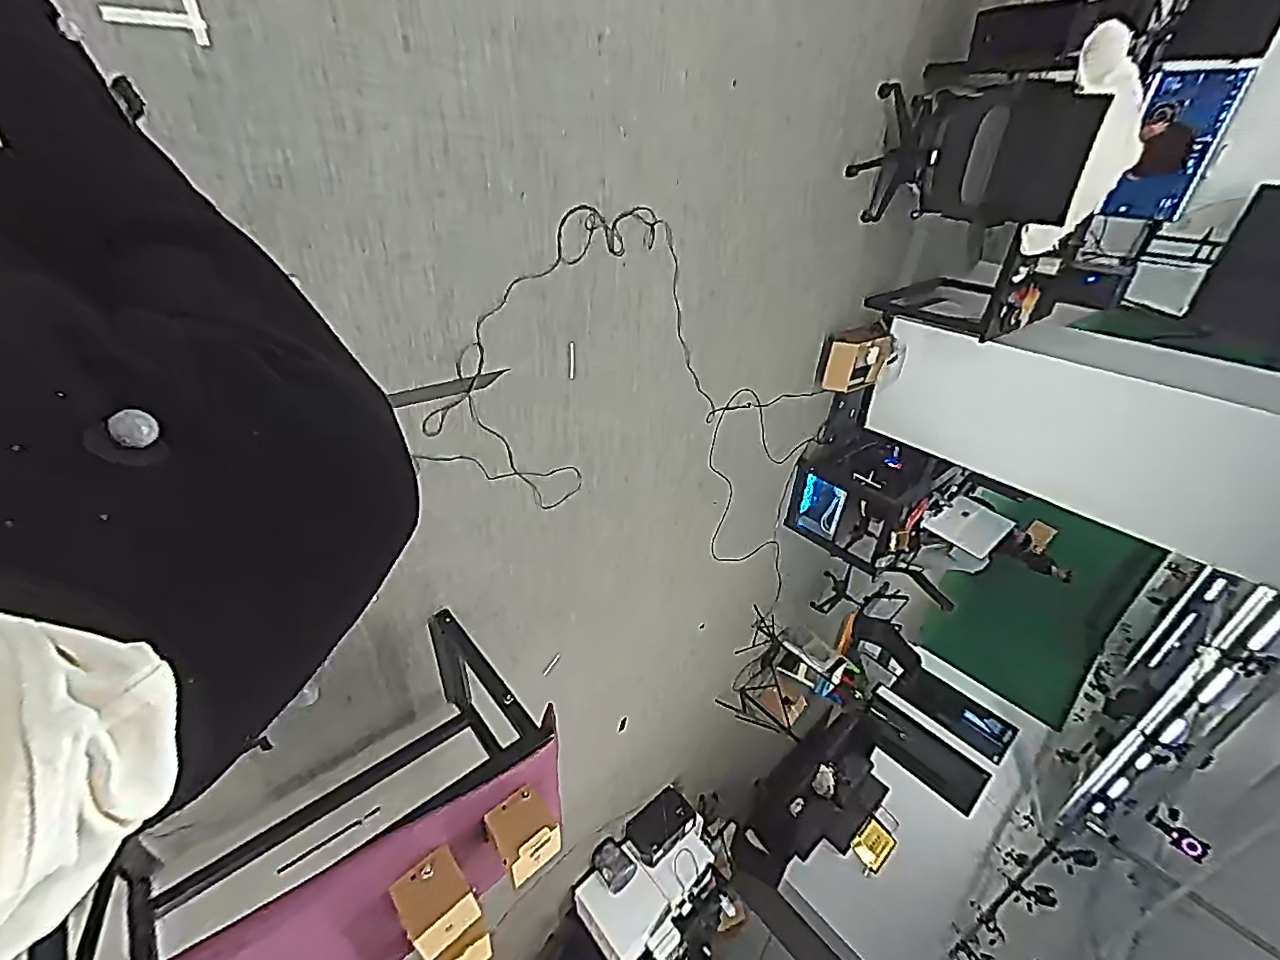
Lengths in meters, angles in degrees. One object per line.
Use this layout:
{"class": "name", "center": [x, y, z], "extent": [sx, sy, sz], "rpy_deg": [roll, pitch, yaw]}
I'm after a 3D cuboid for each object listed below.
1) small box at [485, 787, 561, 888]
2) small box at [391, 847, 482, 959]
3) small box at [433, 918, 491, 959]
{"class": "small box", "center": [-0.362, 1.093, 1.671], "extent": [0.168, 0.176, 0.179], "rpy_deg": [-25, 133, -34]}
{"class": "small box", "center": [-0.569, 1.179, 1.512], "extent": [0.168, 0.176, 0.179], "rpy_deg": [-28, 134, -33]}
{"class": "small box", "center": [-0.575, 1.418, 1.665], "extent": [0.168, 0.176, 0.179], "rpy_deg": [-20, 129, -37]}
